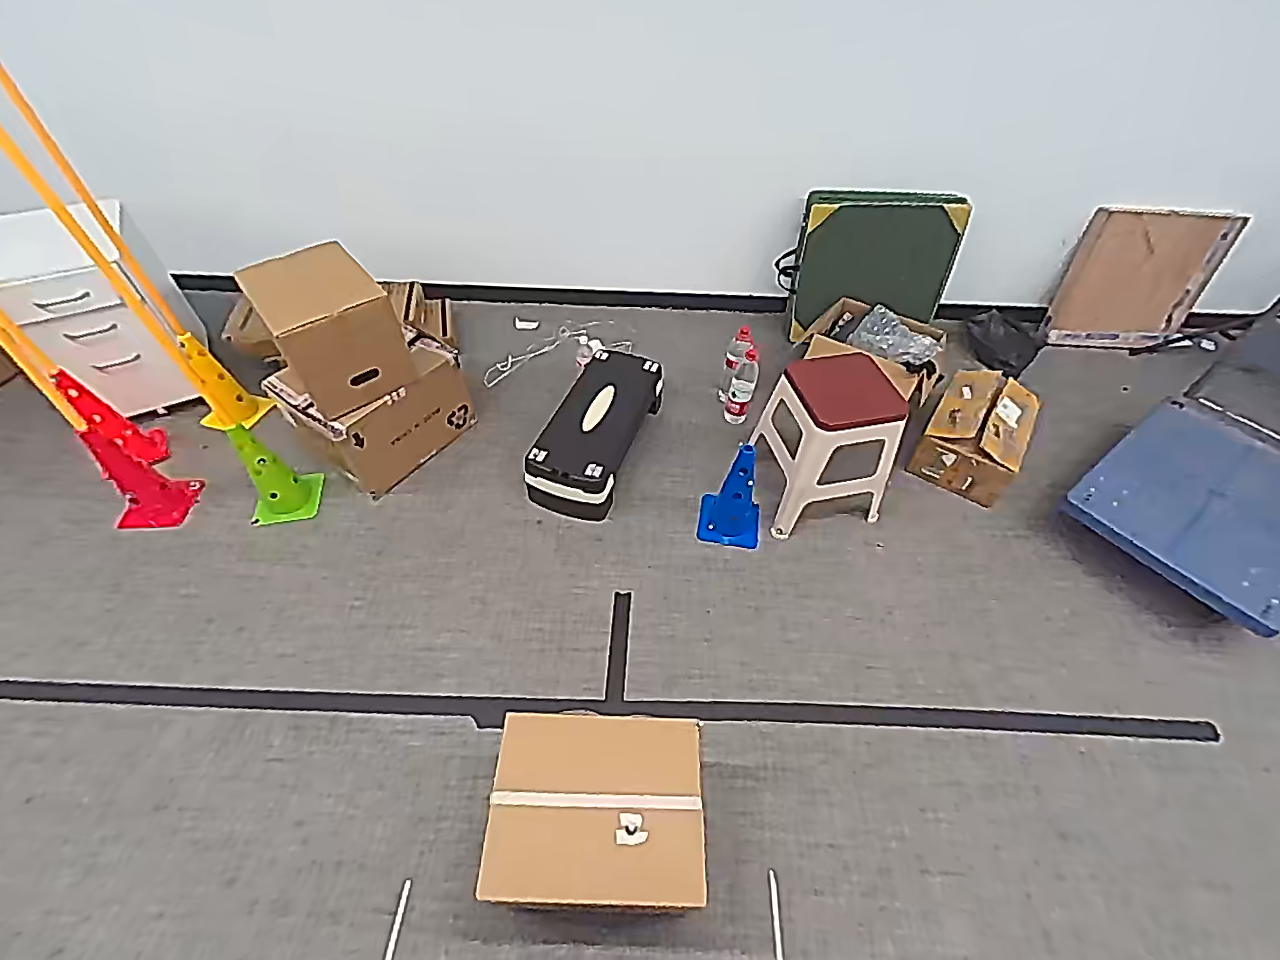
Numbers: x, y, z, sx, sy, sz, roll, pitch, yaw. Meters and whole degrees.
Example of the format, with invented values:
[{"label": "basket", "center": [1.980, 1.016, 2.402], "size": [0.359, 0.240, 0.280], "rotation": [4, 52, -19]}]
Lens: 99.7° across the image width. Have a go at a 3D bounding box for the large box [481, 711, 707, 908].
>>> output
[{"label": "large box", "center": [-0.087, 0.706, 1.148], "size": [0.408, 0.320, 0.320], "rotation": [3, 50, -1]}]
